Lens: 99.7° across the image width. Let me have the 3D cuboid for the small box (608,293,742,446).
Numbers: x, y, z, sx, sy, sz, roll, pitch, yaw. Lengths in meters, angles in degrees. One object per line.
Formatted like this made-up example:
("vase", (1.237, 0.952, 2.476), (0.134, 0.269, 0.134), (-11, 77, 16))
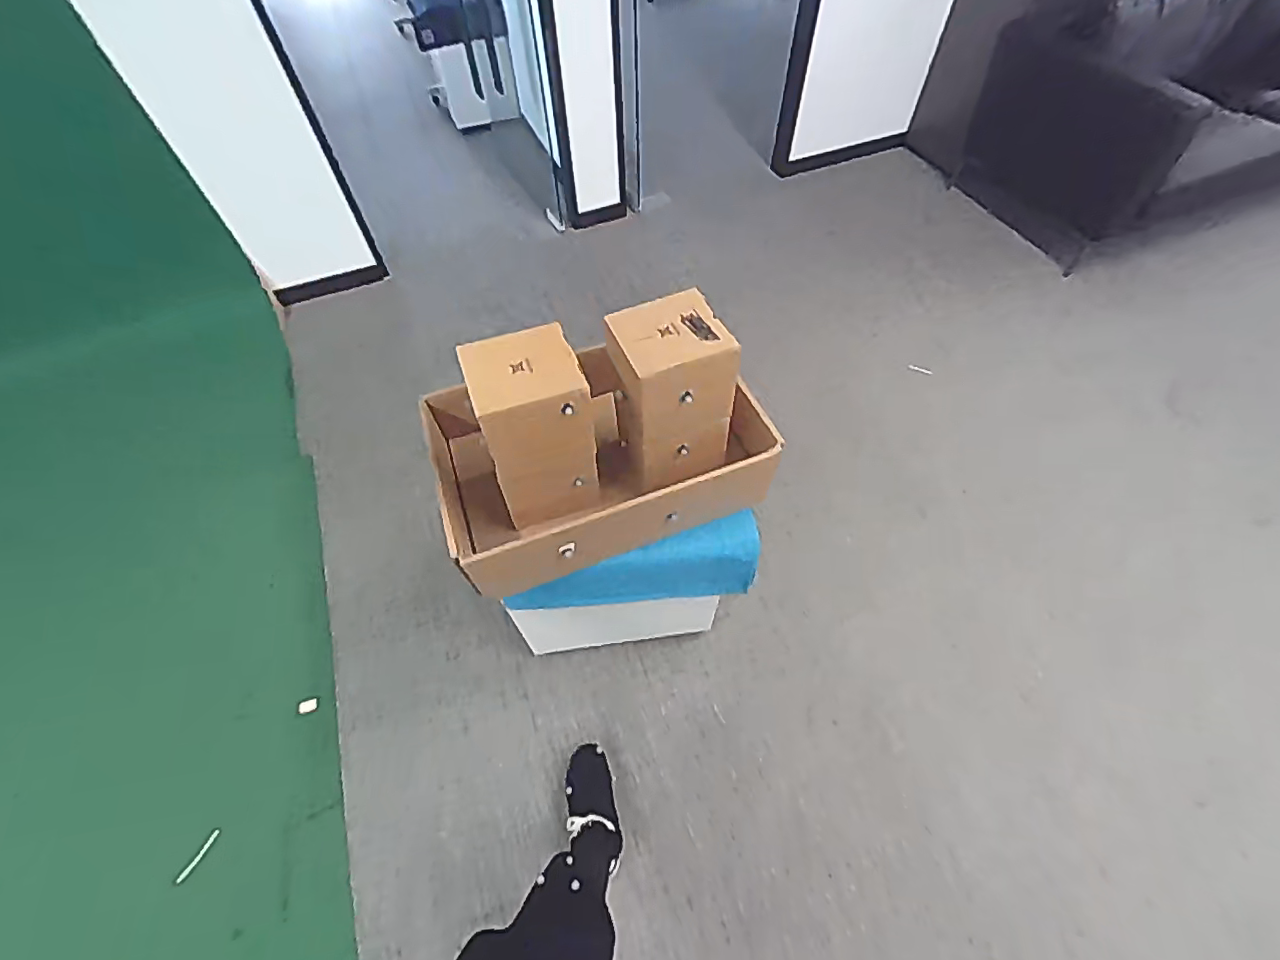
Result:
("small box", (0.056, -0.188, 0.940), (0.179, 0.176, 0.168), (-20, 56, -10))
